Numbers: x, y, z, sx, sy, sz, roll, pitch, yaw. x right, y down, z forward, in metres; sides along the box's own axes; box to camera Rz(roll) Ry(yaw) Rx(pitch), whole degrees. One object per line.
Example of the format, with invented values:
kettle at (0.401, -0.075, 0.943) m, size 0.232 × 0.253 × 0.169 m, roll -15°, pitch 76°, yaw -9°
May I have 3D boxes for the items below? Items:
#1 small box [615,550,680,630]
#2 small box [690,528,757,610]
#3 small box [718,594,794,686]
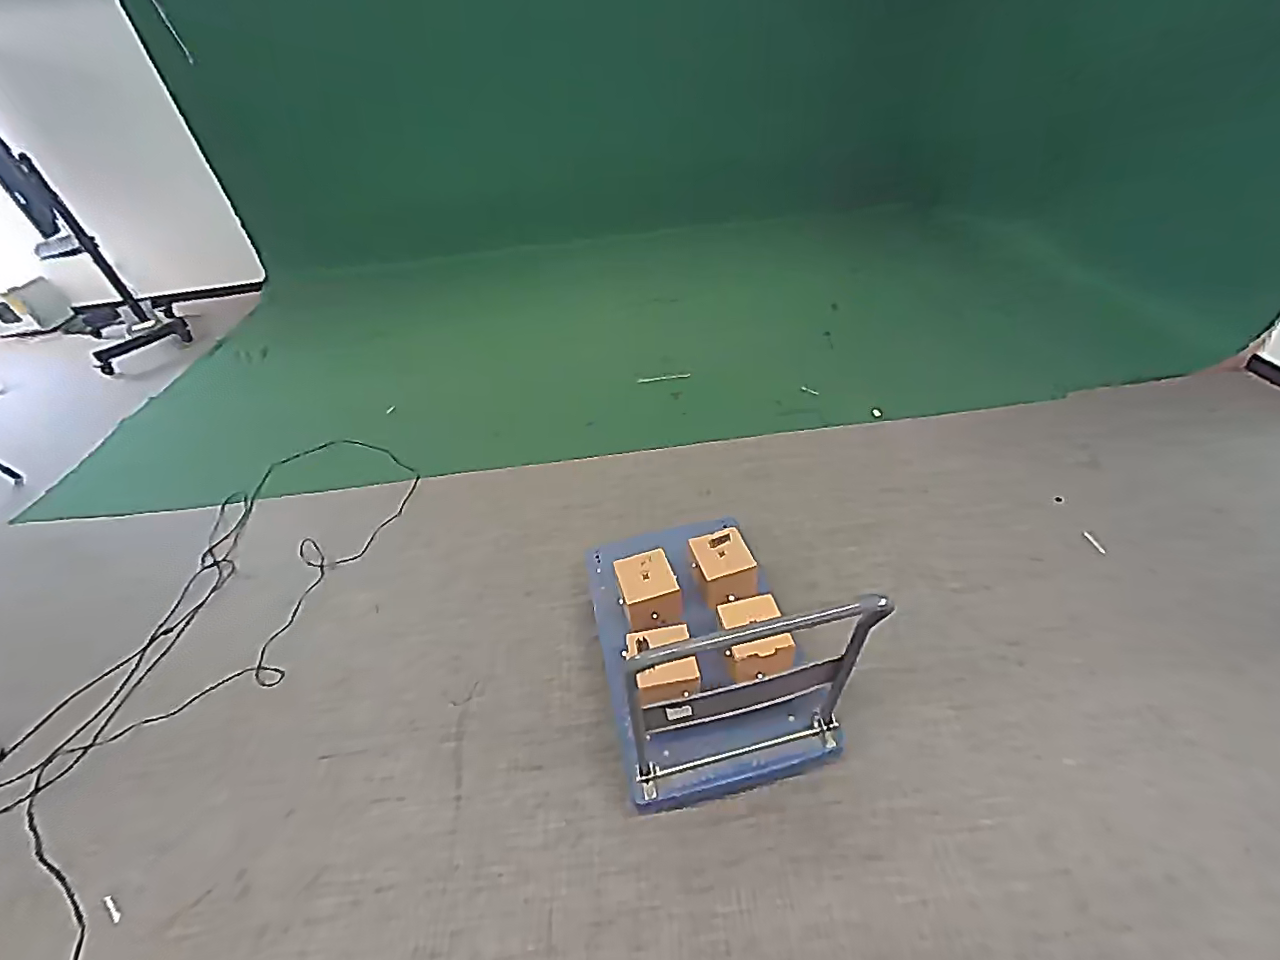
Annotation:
small box at (0.026, 0.357, 1.724) m, size 0.168 × 0.176 × 0.179 m, roll -14°, pitch 42°, yaw -9°
small box at (0.266, 0.291, 1.762) m, size 0.168 × 0.176 × 0.179 m, roll -15°, pitch 43°, yaw -8°
small box at (0.326, 0.464, 1.563) m, size 0.168 × 0.176 × 0.179 m, roll -12°, pitch 42°, yaw -5°
